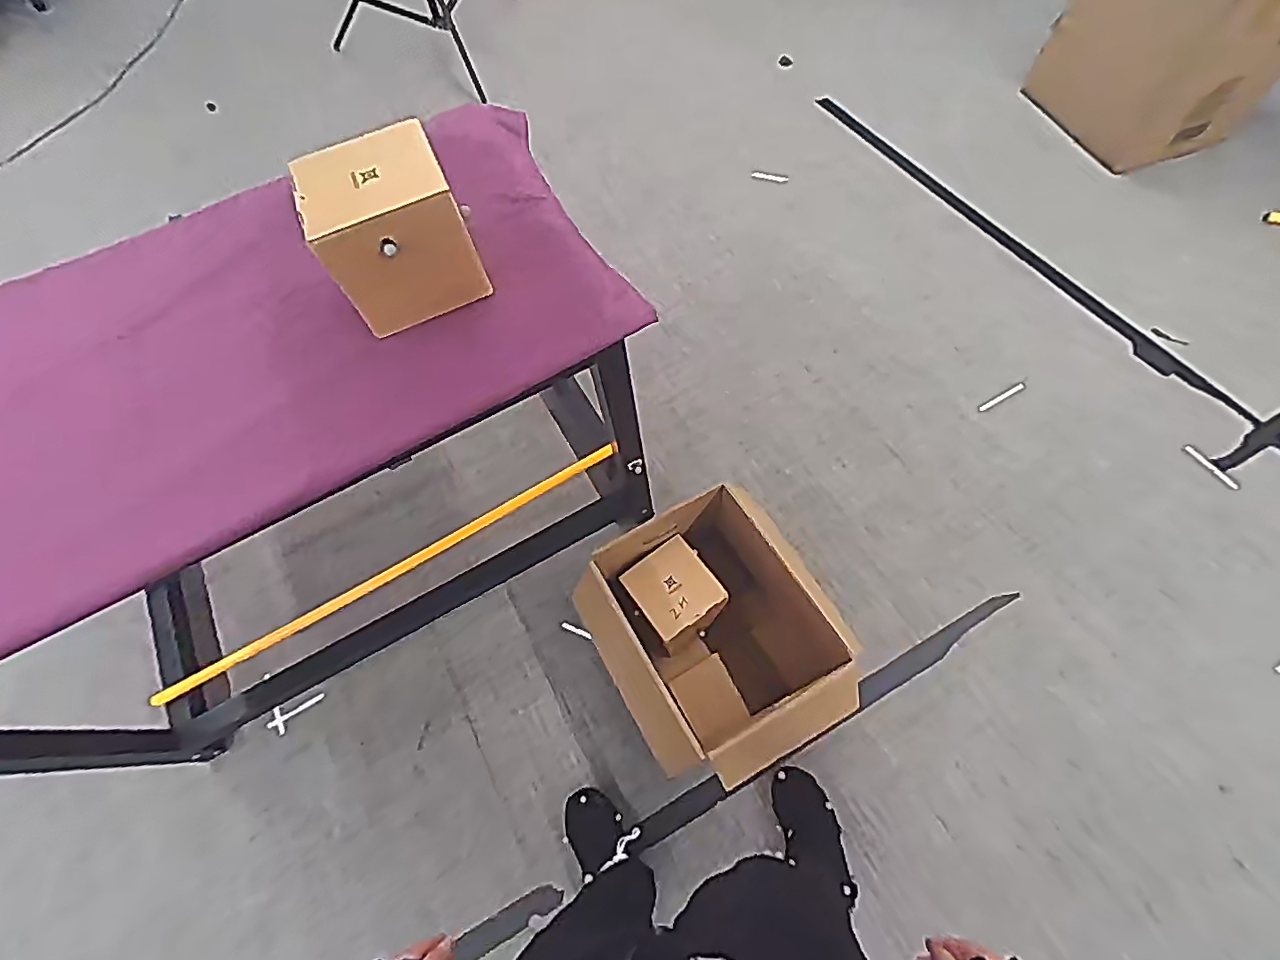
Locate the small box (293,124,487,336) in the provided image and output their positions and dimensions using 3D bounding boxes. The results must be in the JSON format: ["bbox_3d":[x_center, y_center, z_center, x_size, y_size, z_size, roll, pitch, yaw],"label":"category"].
[{"bbox_3d":[-0.325,-0.332,0.736,0.179,0.176,0.168,-24,64,-6],"label":"small box"}]
